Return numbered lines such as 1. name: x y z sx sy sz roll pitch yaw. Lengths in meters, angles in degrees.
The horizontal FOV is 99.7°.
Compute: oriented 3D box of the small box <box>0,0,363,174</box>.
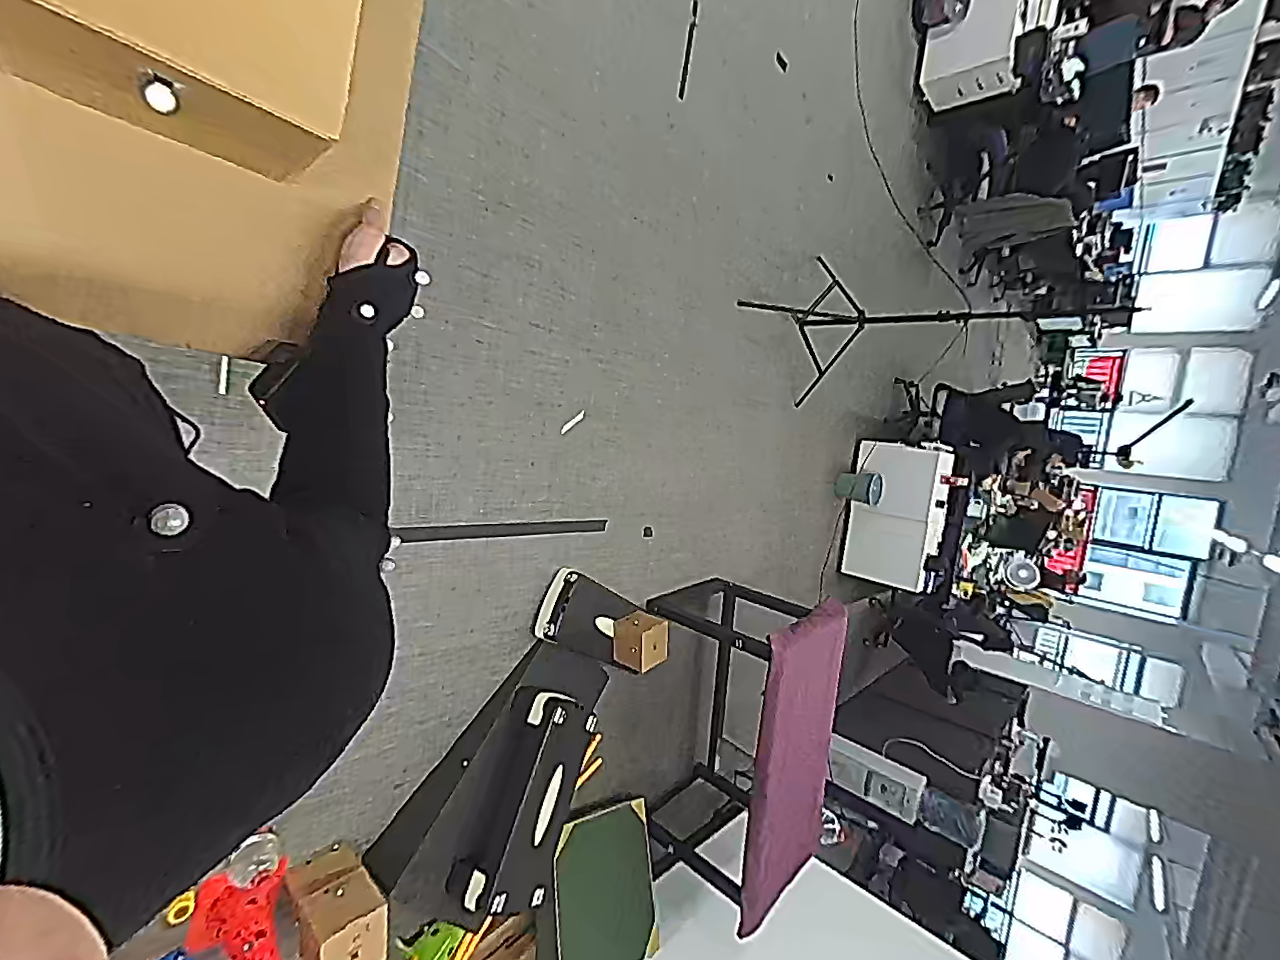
1. small box: -0.323 -0.349 0.392 0.179 0.176 0.168 7 97 -44
